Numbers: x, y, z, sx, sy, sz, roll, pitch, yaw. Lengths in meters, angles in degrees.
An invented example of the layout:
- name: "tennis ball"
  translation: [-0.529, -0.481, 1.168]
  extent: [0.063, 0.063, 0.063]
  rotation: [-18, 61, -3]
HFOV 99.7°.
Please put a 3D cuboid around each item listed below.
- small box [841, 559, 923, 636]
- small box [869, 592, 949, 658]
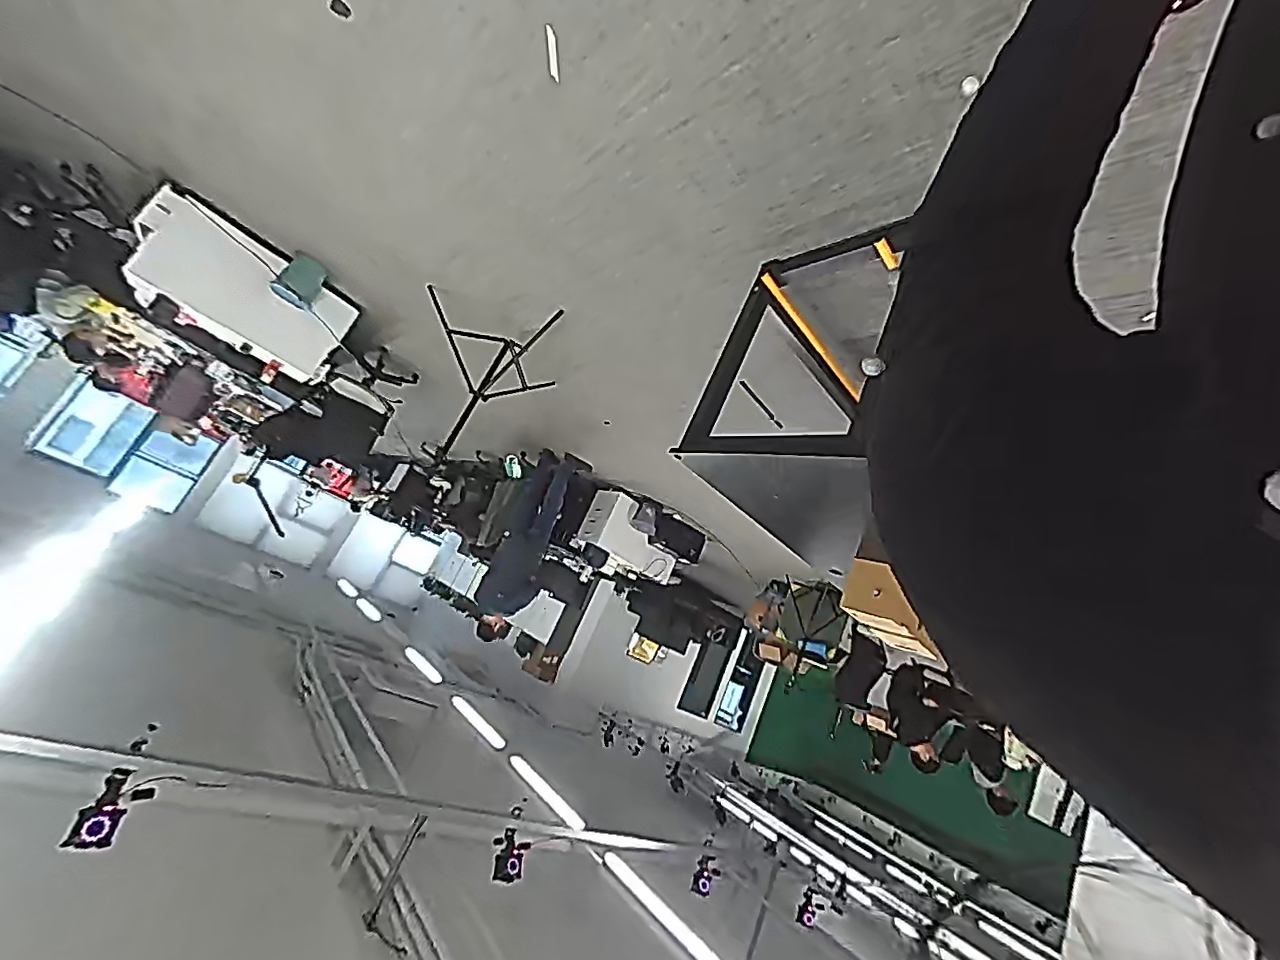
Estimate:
- name: "small box"
  translation: [0.760, 0.361, 1.683]
  extent: [0.168, 0.176, 0.179]
  rotation: [36, 161, -35]
- name: "small box"
  translation: [0.903, 0.466, 1.805]
  extent: [0.179, 0.176, 0.168]
  rotation: [37, 161, -32]
